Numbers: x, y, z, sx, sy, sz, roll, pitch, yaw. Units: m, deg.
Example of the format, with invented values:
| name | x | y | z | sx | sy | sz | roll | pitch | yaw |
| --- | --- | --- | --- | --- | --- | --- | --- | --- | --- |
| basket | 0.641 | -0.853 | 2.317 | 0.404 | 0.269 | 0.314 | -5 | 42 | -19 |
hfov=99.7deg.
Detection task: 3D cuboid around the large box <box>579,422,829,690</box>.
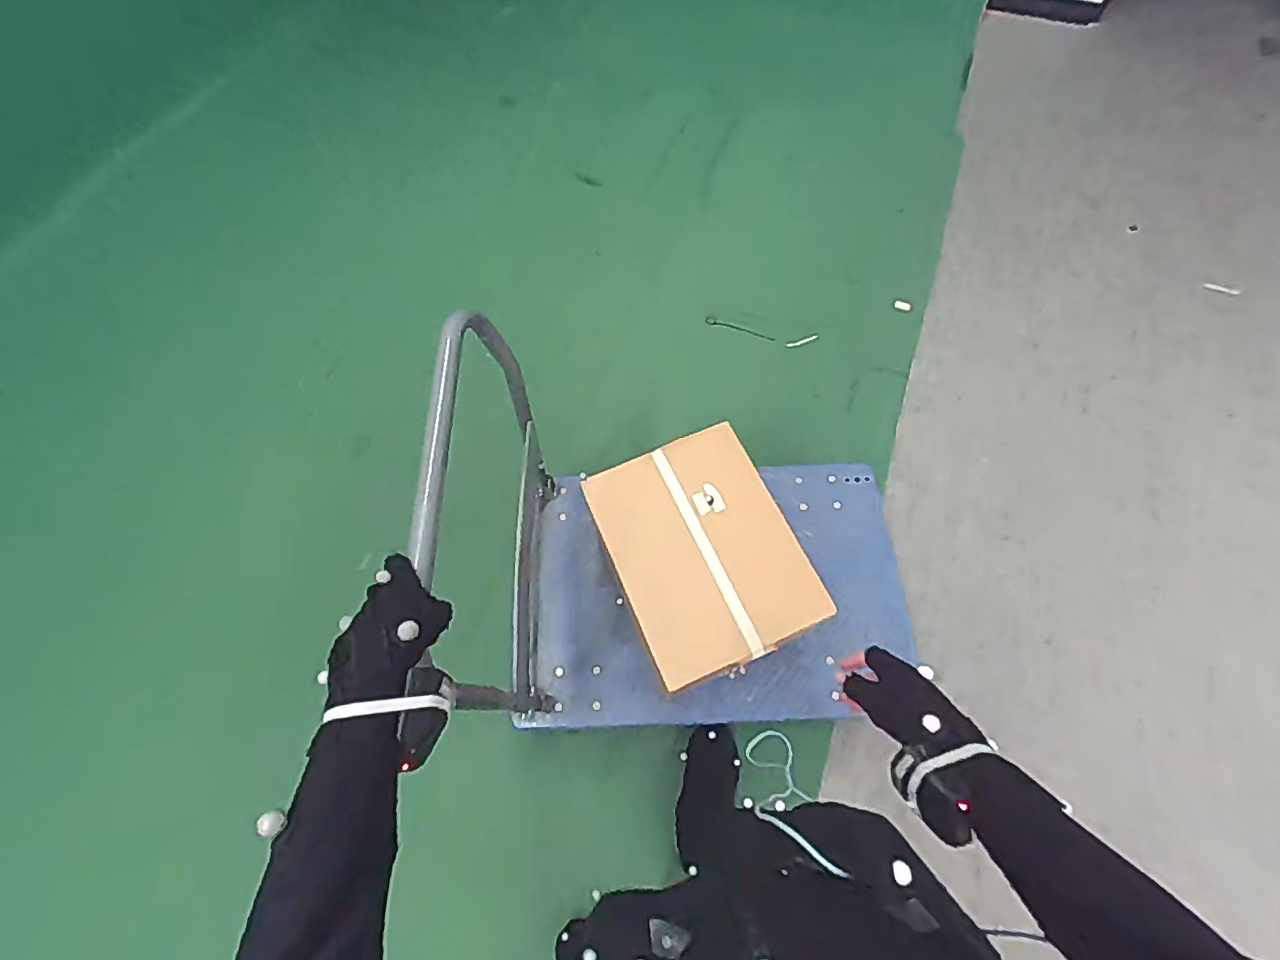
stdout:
| name | x | y | z | sx | sy | sz | roll | pitch | yaw |
| --- | --- | --- | --- | --- | --- | --- | --- | --- | --- |
| large box | 0.112 | 0.166 | 1.102 | 0.320 | 0.320 | 0.408 | -23 | 67 | -8 |
